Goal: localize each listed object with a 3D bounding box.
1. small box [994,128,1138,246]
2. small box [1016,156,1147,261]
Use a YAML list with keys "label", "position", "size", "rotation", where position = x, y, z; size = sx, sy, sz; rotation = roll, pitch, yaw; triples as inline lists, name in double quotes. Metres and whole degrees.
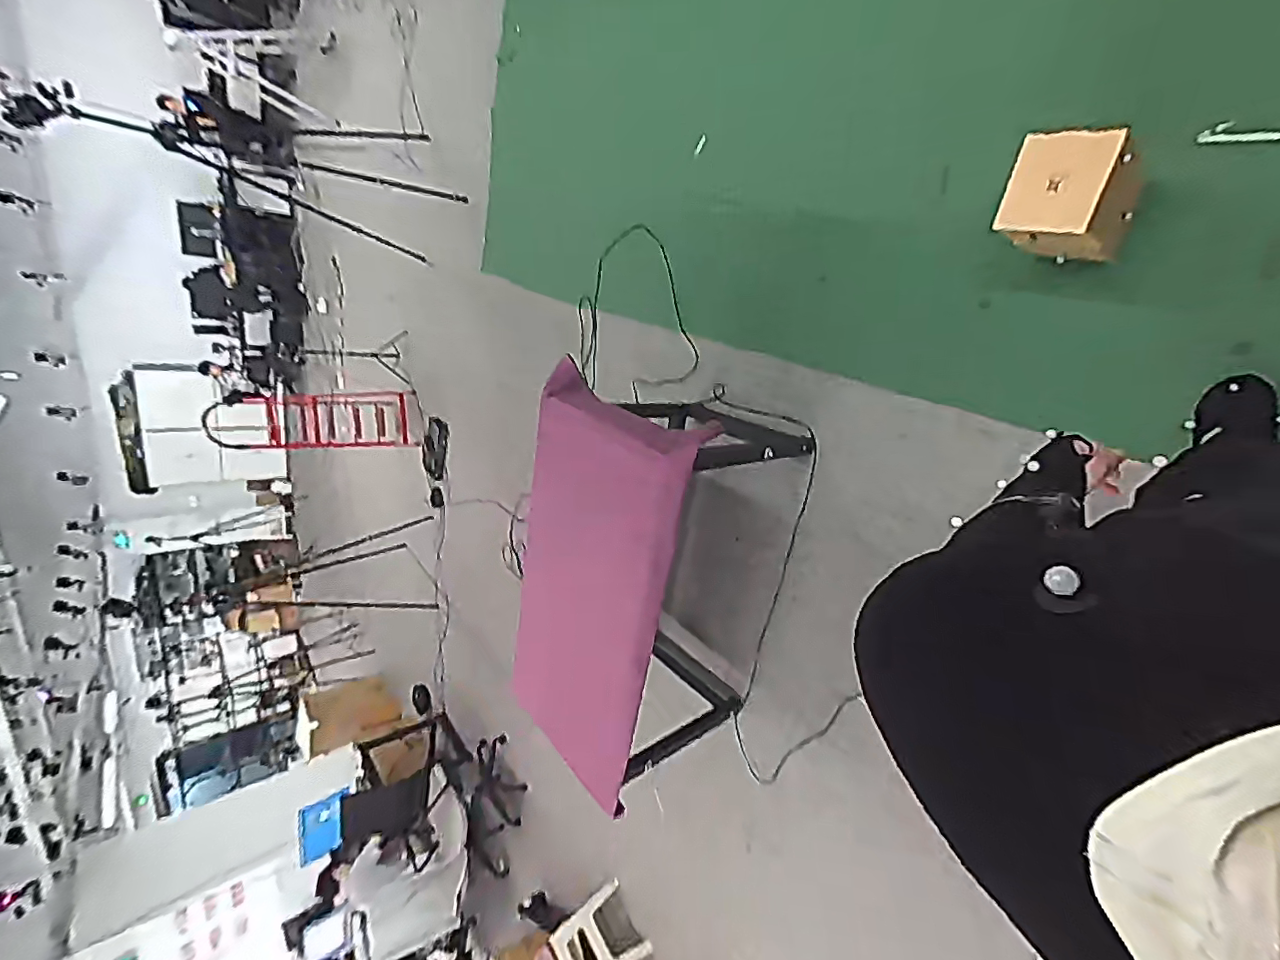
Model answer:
- label: "small box"
  position: [0.867, -0.585, 1.099]
  size: [0.168, 0.176, 0.179]
  rotation: [30, 117, 43]
- label: "small box"
  position: [0.987, -0.602, 1.206]
  size: [0.168, 0.176, 0.179]
  rotation: [31, 119, 43]
